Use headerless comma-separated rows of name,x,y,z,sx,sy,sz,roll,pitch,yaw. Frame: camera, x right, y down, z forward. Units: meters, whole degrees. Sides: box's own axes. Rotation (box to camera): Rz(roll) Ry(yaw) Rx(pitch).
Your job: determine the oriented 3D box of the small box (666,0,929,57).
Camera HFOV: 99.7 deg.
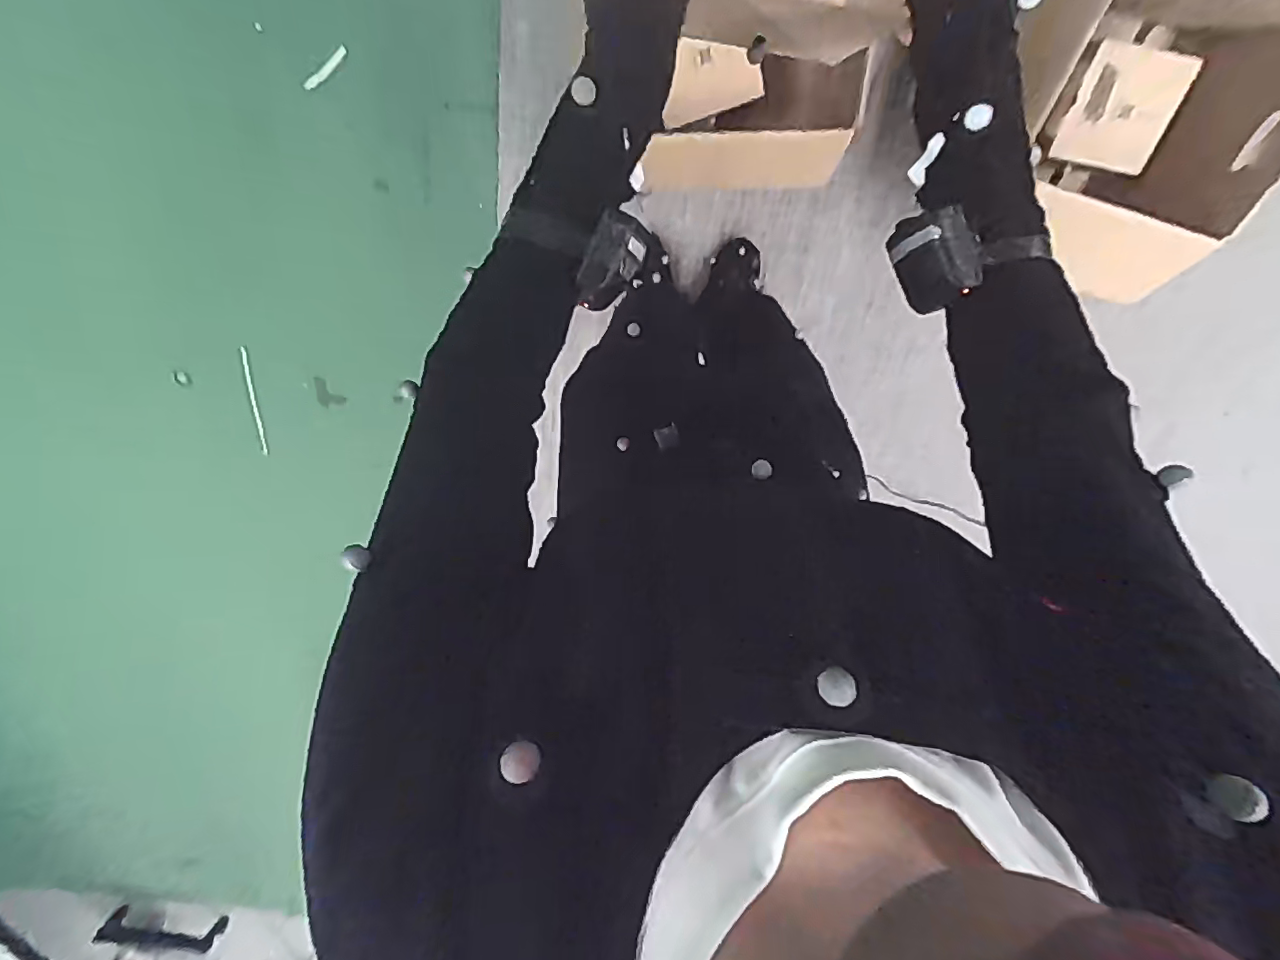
small box,0.122,-0.441,0.406,0.179,0.176,0.168,5,119,-5
